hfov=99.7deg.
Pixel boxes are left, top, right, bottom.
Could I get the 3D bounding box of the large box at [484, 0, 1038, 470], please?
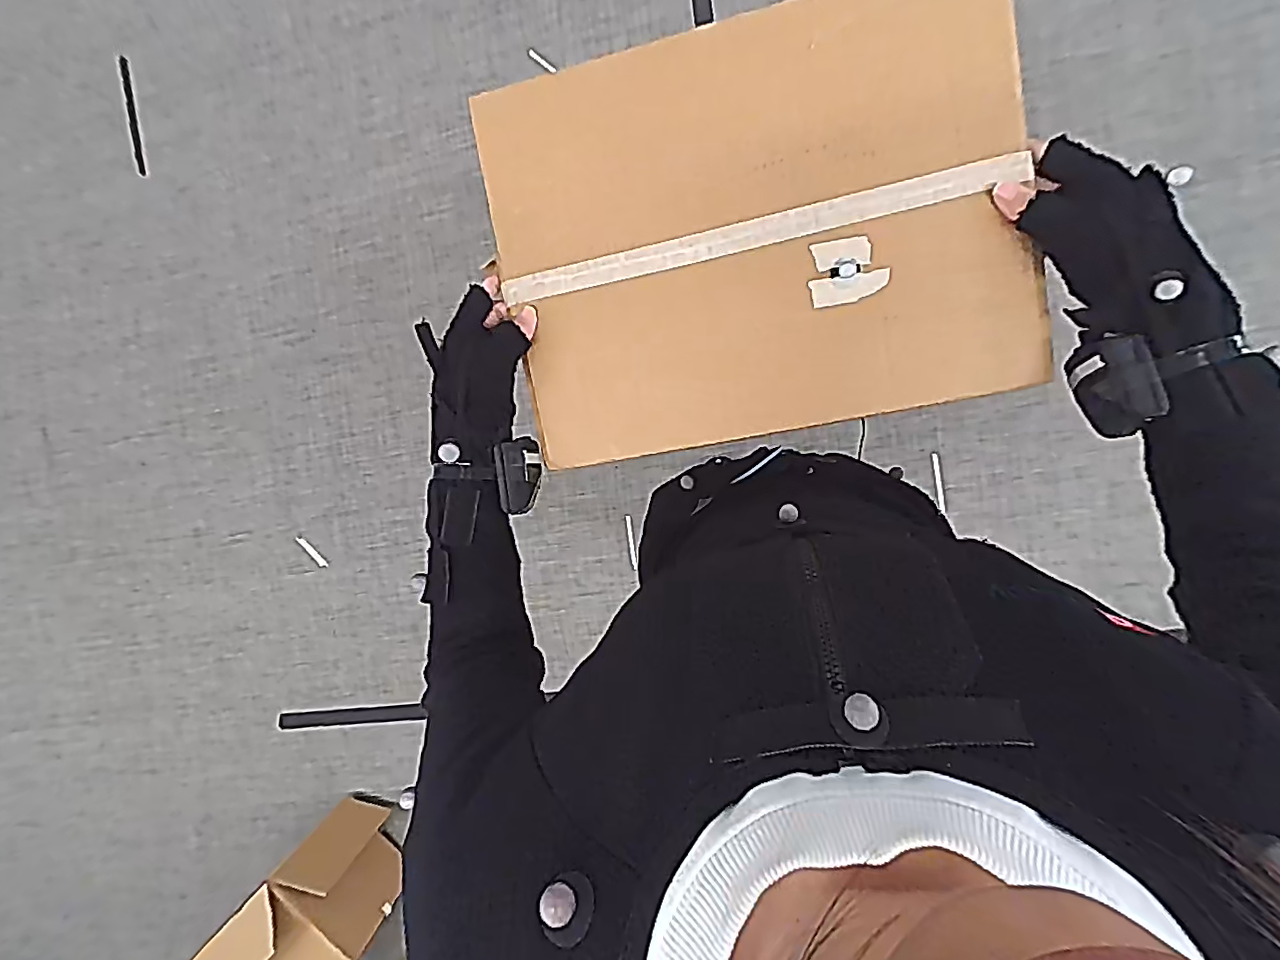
[{"bbox_3d":[0.107,-0.212,0.583,0.408,0.320,0.320,-11,96,9],"label":"large box"}]
